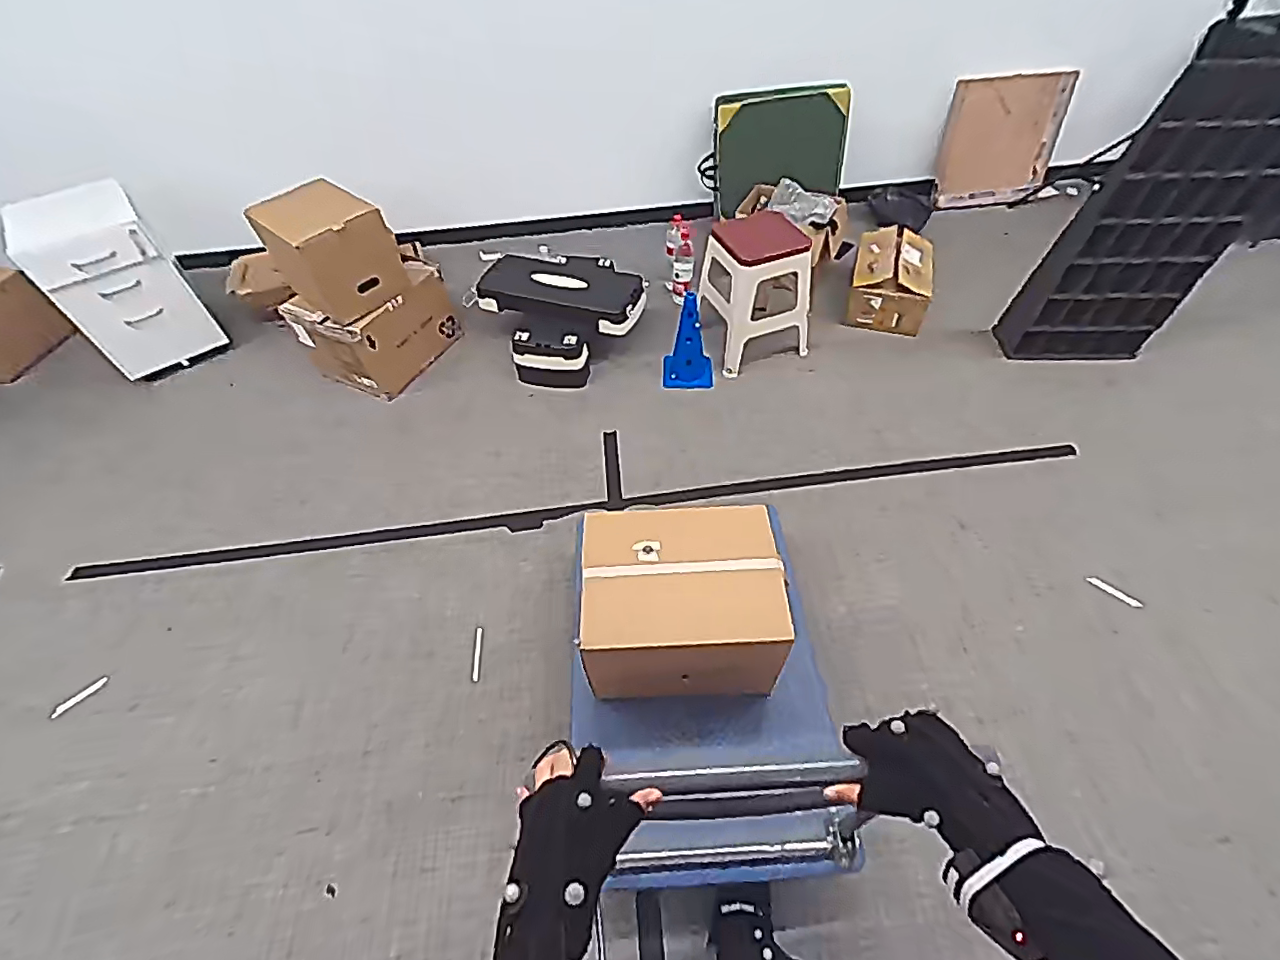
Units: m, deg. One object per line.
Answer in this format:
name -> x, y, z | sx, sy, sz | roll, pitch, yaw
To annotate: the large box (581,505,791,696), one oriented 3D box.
large box -> 0.089, 0.280, 1.221 | 0.408, 0.320, 0.320 | -3, 51, 1
